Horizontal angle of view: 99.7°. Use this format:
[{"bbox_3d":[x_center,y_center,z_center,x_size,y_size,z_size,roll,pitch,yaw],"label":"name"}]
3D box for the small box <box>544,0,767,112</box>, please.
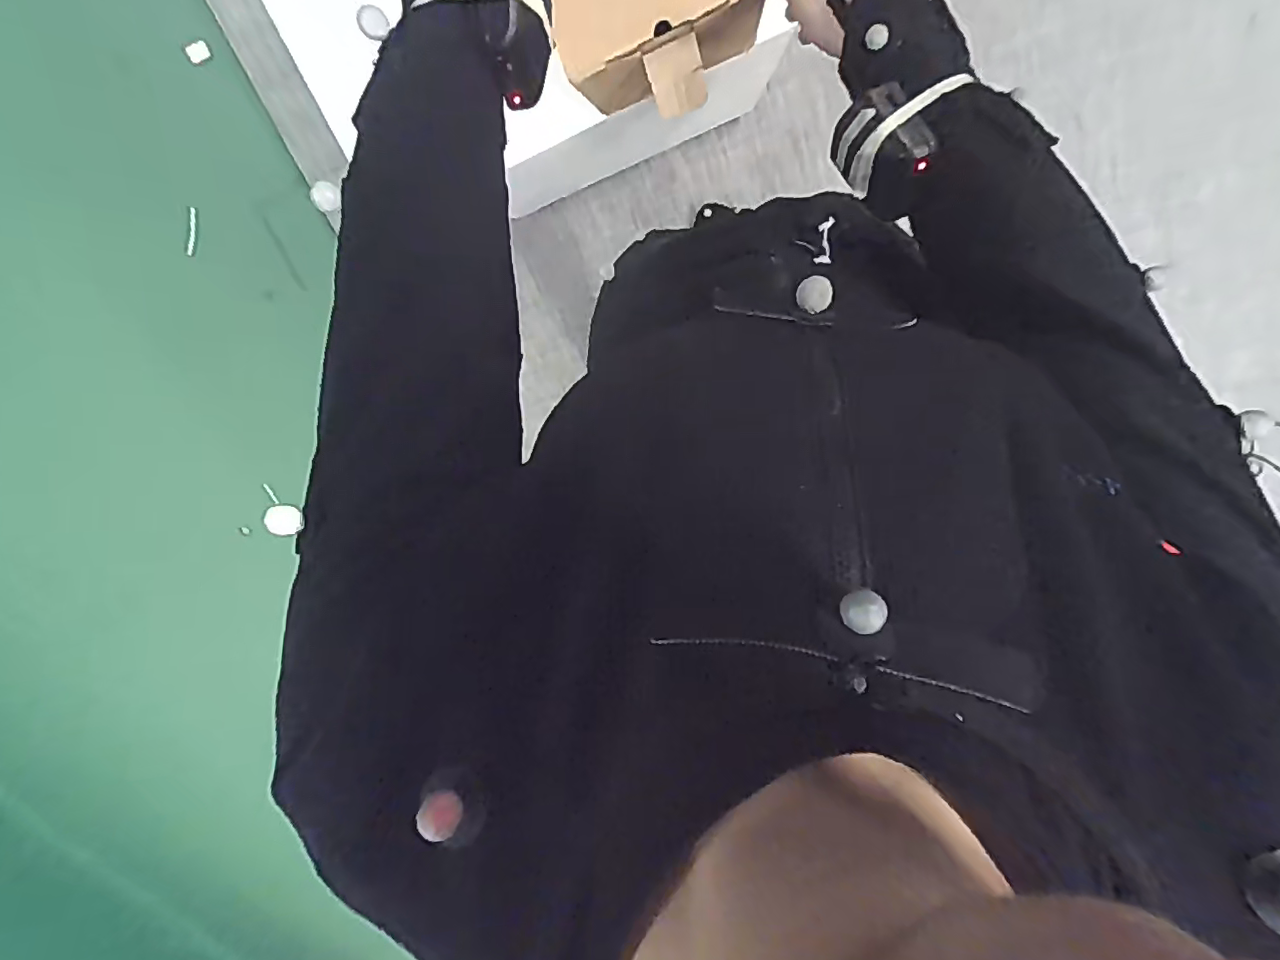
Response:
[{"bbox_3d":[0.000,-0.448,0.454,0.168,0.176,0.179,-16,113,15],"label":"small box"}]
